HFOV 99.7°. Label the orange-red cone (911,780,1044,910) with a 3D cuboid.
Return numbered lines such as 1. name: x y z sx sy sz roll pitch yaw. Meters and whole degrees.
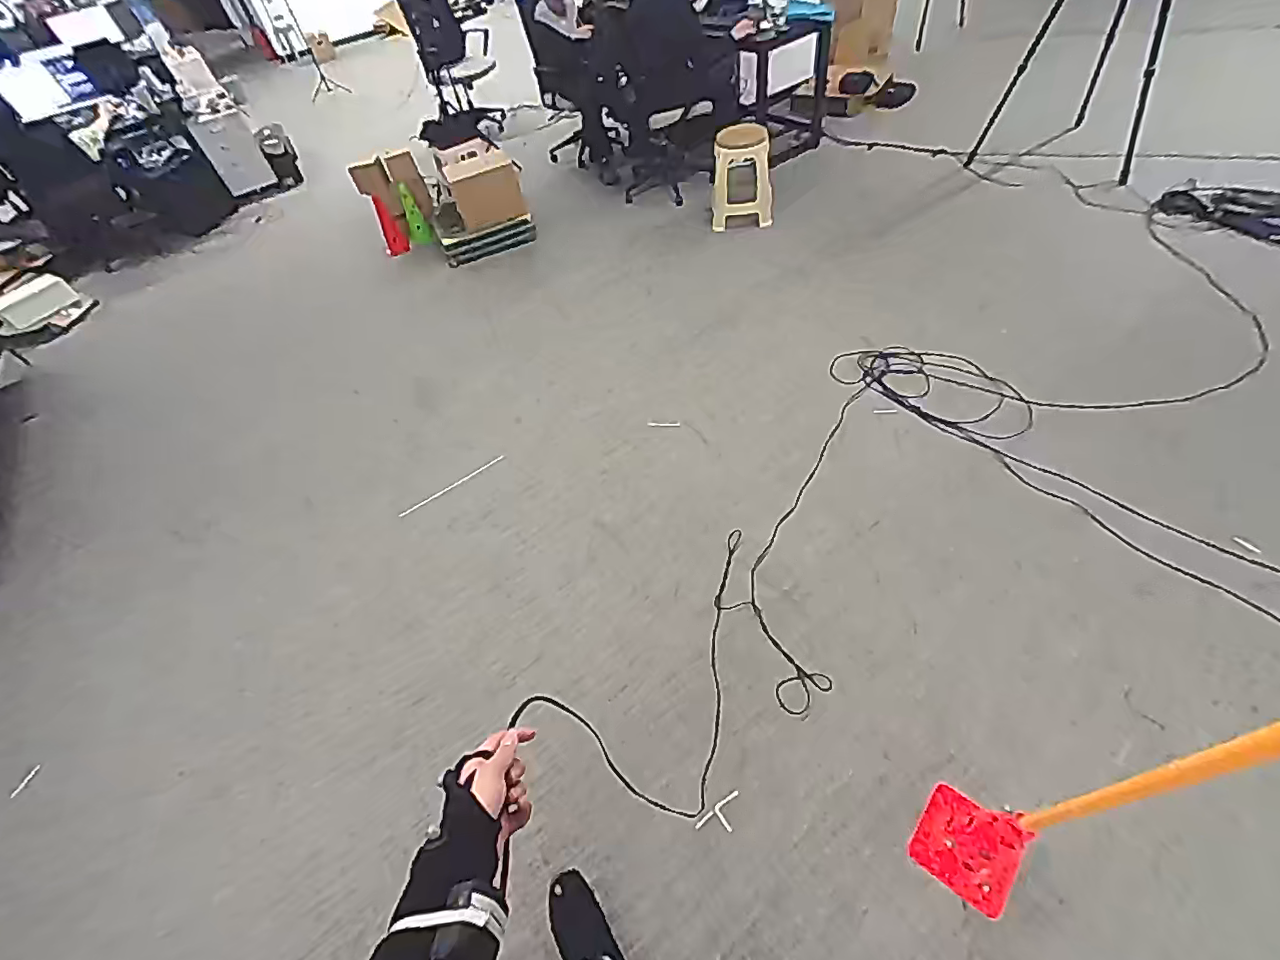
1. orange-red cone: 0.733 0.724 1.116 0.198 0.360 0.199 31 61 29
